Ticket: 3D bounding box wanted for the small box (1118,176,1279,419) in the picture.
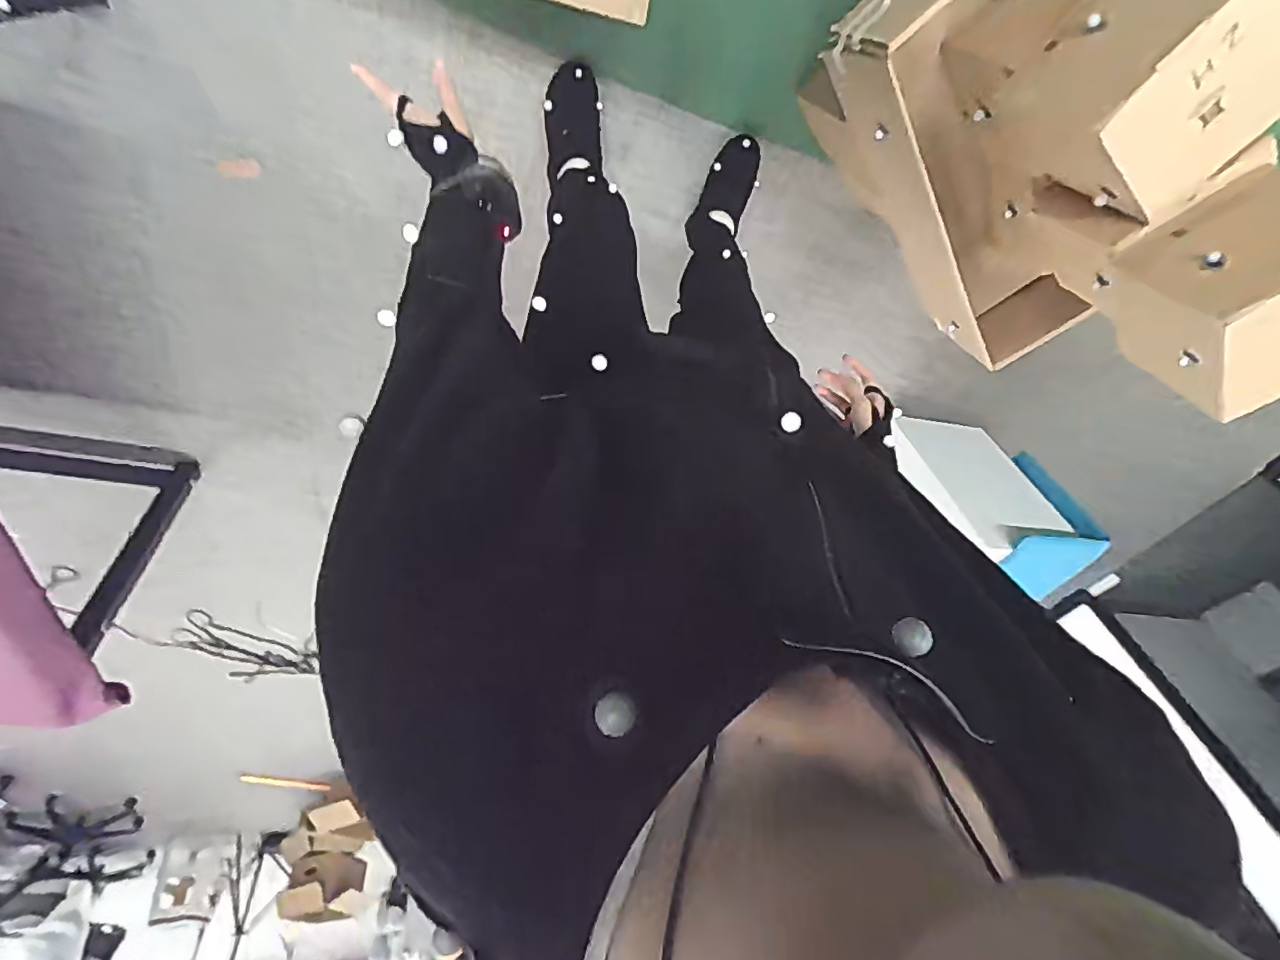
[{"bbox_3d":[0.688,-0.210,0.608,0.168,0.176,0.179,-33,128,22],"label":"small box"}]
